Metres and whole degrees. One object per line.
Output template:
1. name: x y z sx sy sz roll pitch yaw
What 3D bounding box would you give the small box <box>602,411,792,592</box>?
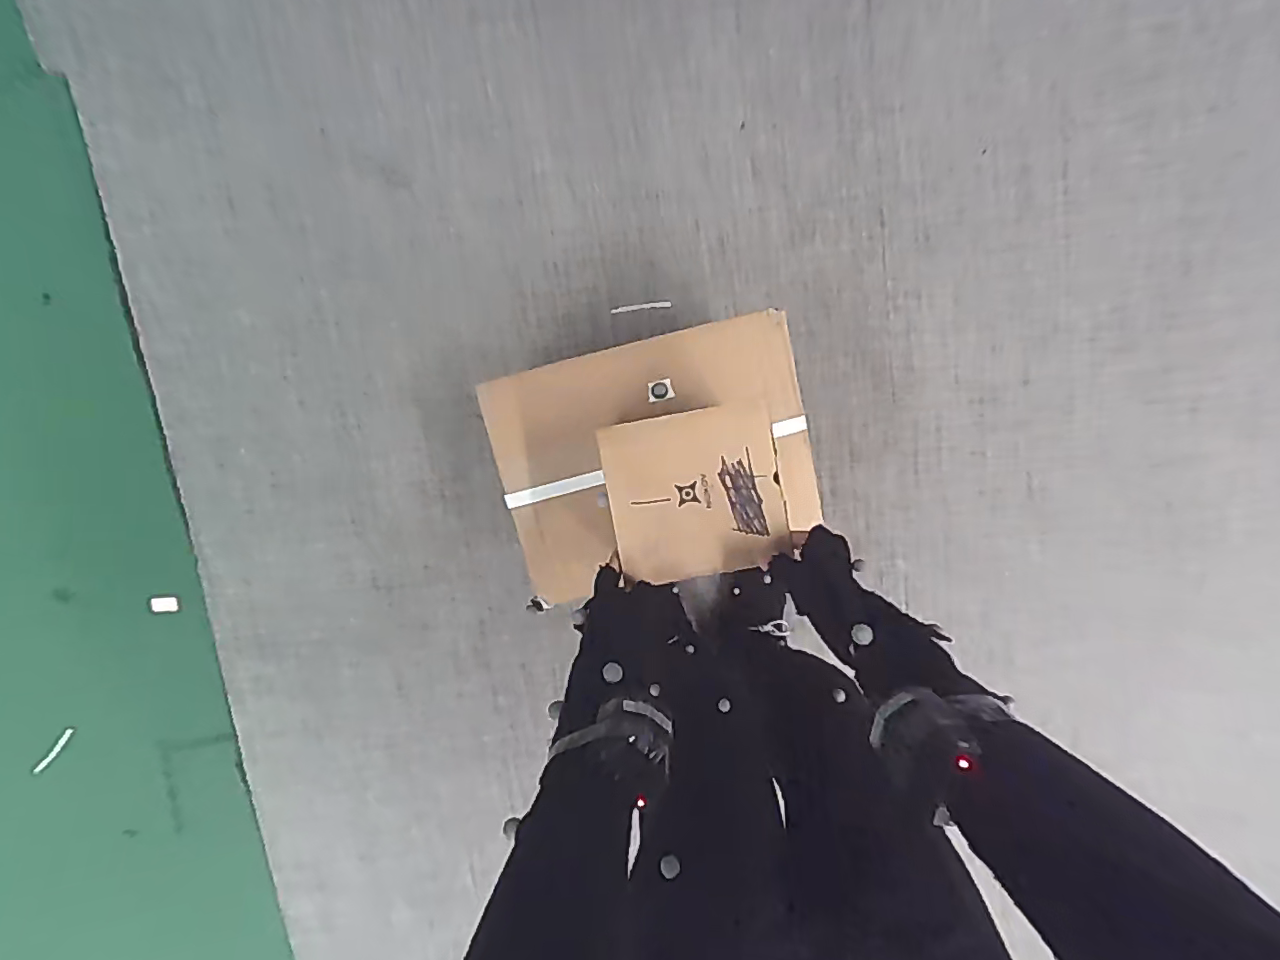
1. small box: 0.057 0.020 0.630 0.179 0.176 0.168 -10 91 0
